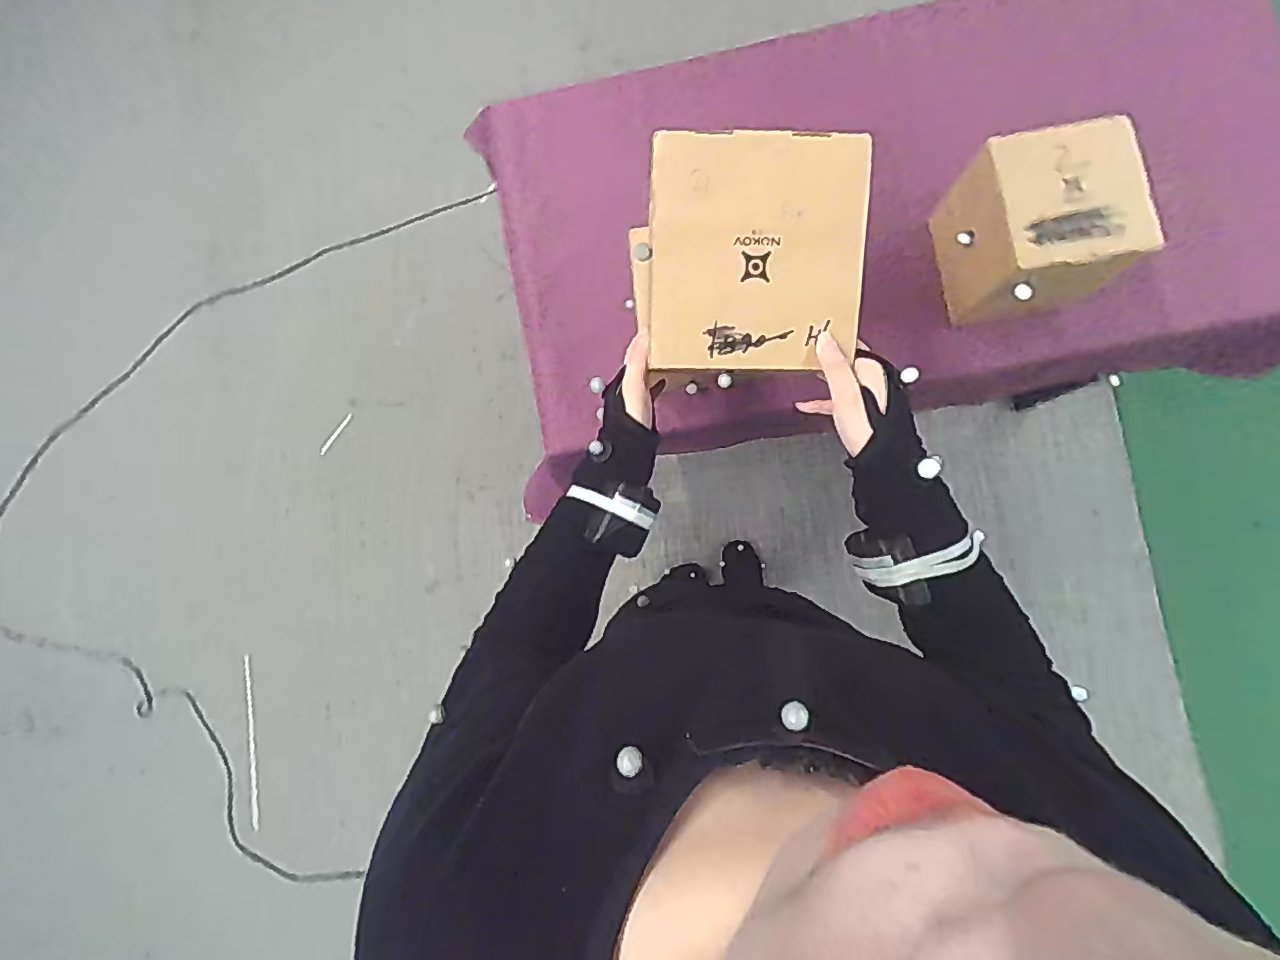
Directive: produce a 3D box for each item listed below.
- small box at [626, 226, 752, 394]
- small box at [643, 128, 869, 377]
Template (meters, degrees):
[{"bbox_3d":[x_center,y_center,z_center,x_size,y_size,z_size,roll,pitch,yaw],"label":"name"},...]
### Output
[{"bbox_3d":[0.075,-0.233,0.752,0.168,0.176,0.179,-6,83,5],"label":"small box"},{"bbox_3d":[0.088,-0.187,0.494,0.168,0.176,0.179,2,100,1],"label":"small box"}]
